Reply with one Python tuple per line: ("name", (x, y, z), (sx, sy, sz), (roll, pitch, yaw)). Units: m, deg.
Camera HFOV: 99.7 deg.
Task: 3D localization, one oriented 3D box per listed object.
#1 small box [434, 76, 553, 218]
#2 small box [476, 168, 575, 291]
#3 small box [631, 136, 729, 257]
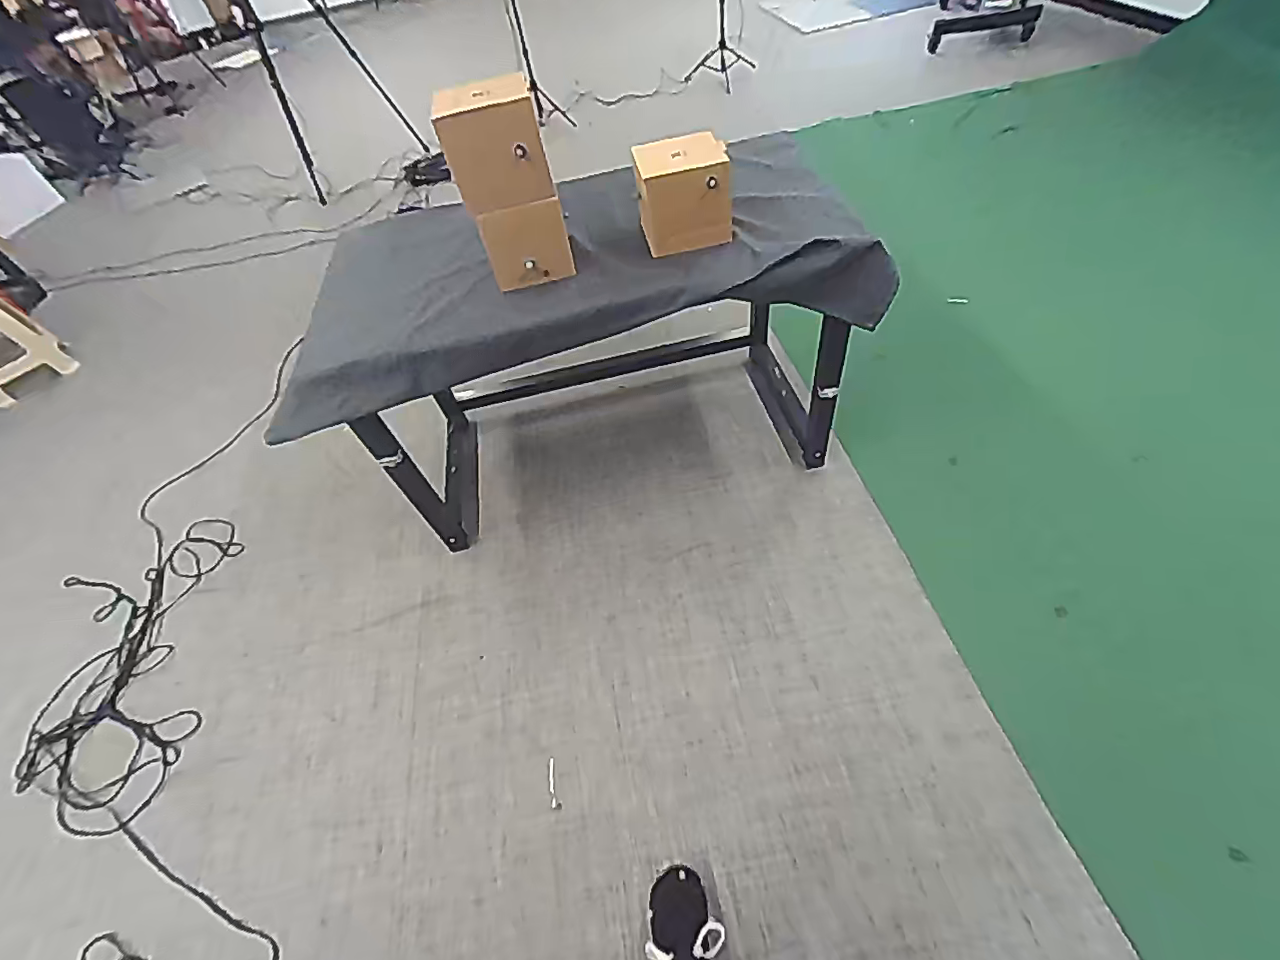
("small box", (-0.271, -0.631, 1.031), (0.179, 0.176, 0.168), (-15, 50, -1))
("small box", (-0.243, -0.534, 1.159), (0.168, 0.176, 0.179), (-13, 52, -1))
("small box", (0.087, -0.601, 1.157), (0.179, 0.176, 0.168), (-12, 51, 0))
